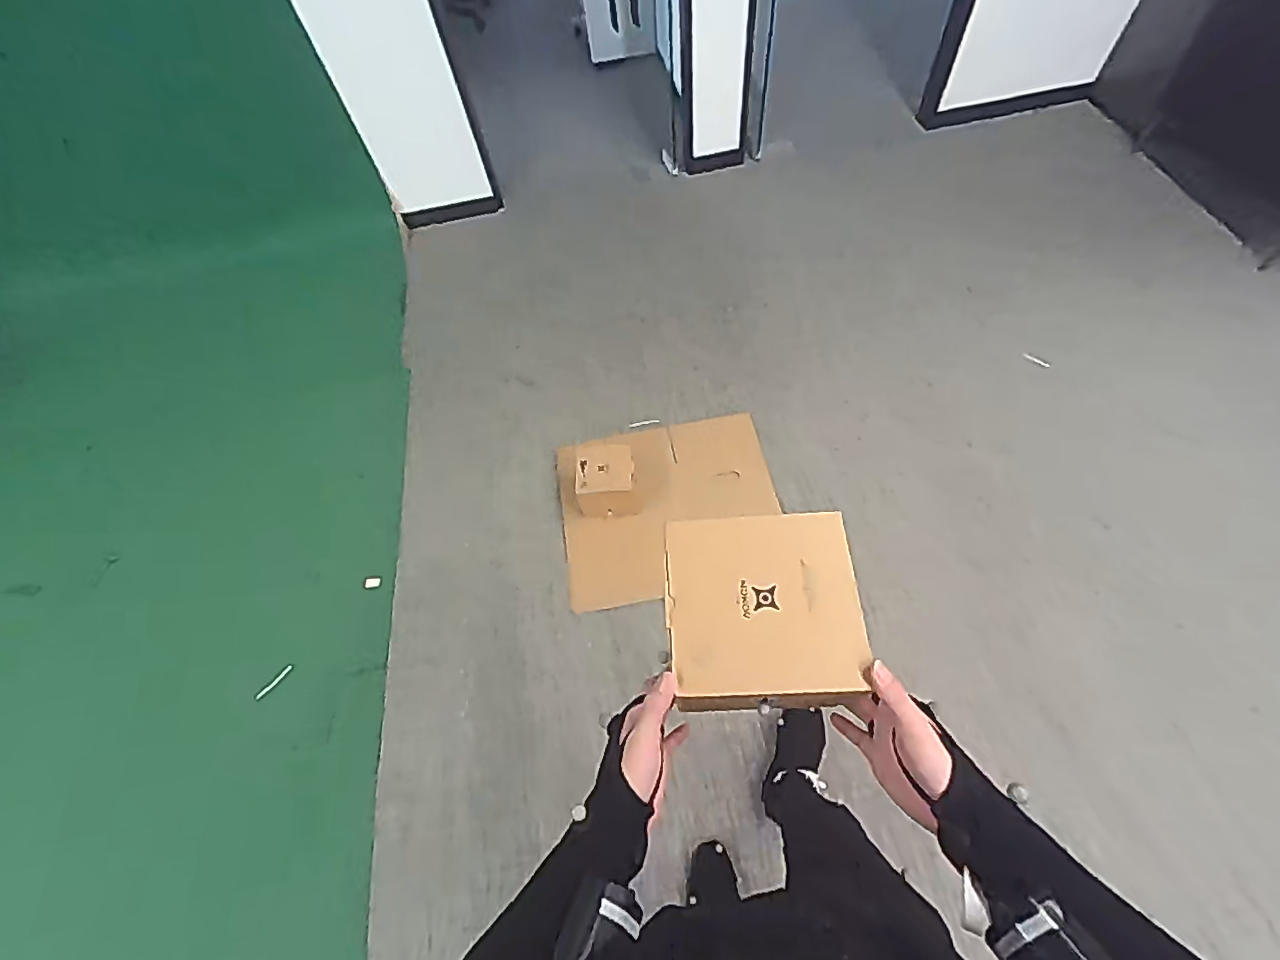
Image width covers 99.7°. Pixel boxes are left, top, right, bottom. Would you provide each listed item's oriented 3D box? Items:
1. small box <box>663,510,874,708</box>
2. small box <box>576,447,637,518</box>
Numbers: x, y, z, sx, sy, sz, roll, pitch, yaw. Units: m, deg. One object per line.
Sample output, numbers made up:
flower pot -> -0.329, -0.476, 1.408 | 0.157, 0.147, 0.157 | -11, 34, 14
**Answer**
small box -> 0.120, 0.143, 0.568 | 0.179, 0.176, 0.168 | -4, 63, 5
small box -> -0.101, 0.011, 1.720 | 0.179, 0.176, 0.168 | -3, 60, 4
